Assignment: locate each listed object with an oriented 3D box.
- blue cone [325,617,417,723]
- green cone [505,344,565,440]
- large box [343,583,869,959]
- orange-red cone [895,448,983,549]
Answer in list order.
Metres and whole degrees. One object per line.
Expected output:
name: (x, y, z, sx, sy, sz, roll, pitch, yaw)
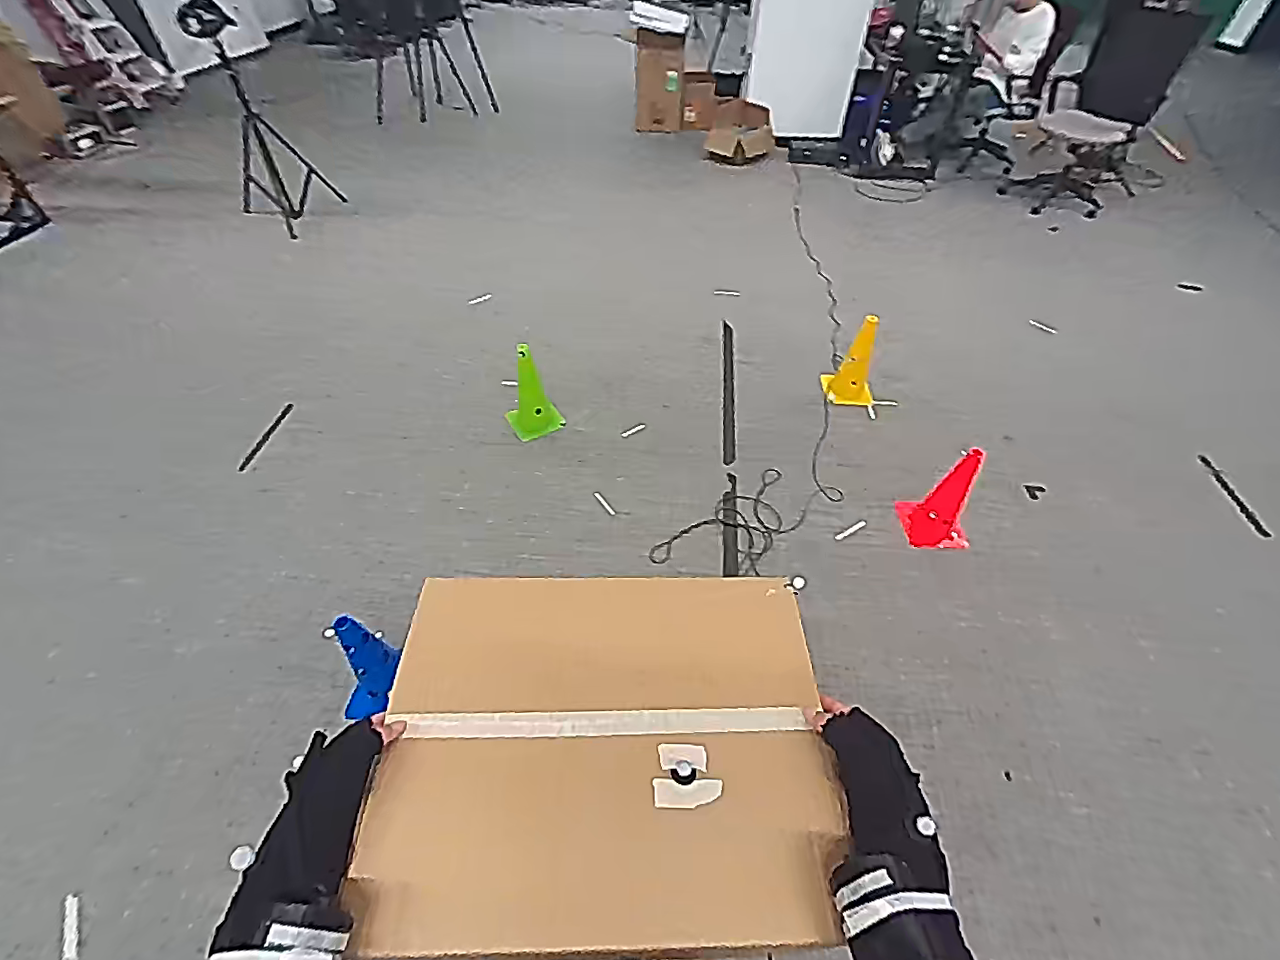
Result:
blue cone: (-0.689, 0.455, 1.366, 0.192, 0.380, 0.193, 6, 47, 6)
green cone: (-0.435, -0.367, 2.102, 0.202, 0.368, 0.200, -26, 52, -20)
large box: (-0.032, 0.330, 0.610, 0.408, 0.320, 0.320, 1, 47, -2)
orange-red cone: (1.007, 0.037, 1.754, 0.198, 0.360, 0.199, 3, 46, 1)
